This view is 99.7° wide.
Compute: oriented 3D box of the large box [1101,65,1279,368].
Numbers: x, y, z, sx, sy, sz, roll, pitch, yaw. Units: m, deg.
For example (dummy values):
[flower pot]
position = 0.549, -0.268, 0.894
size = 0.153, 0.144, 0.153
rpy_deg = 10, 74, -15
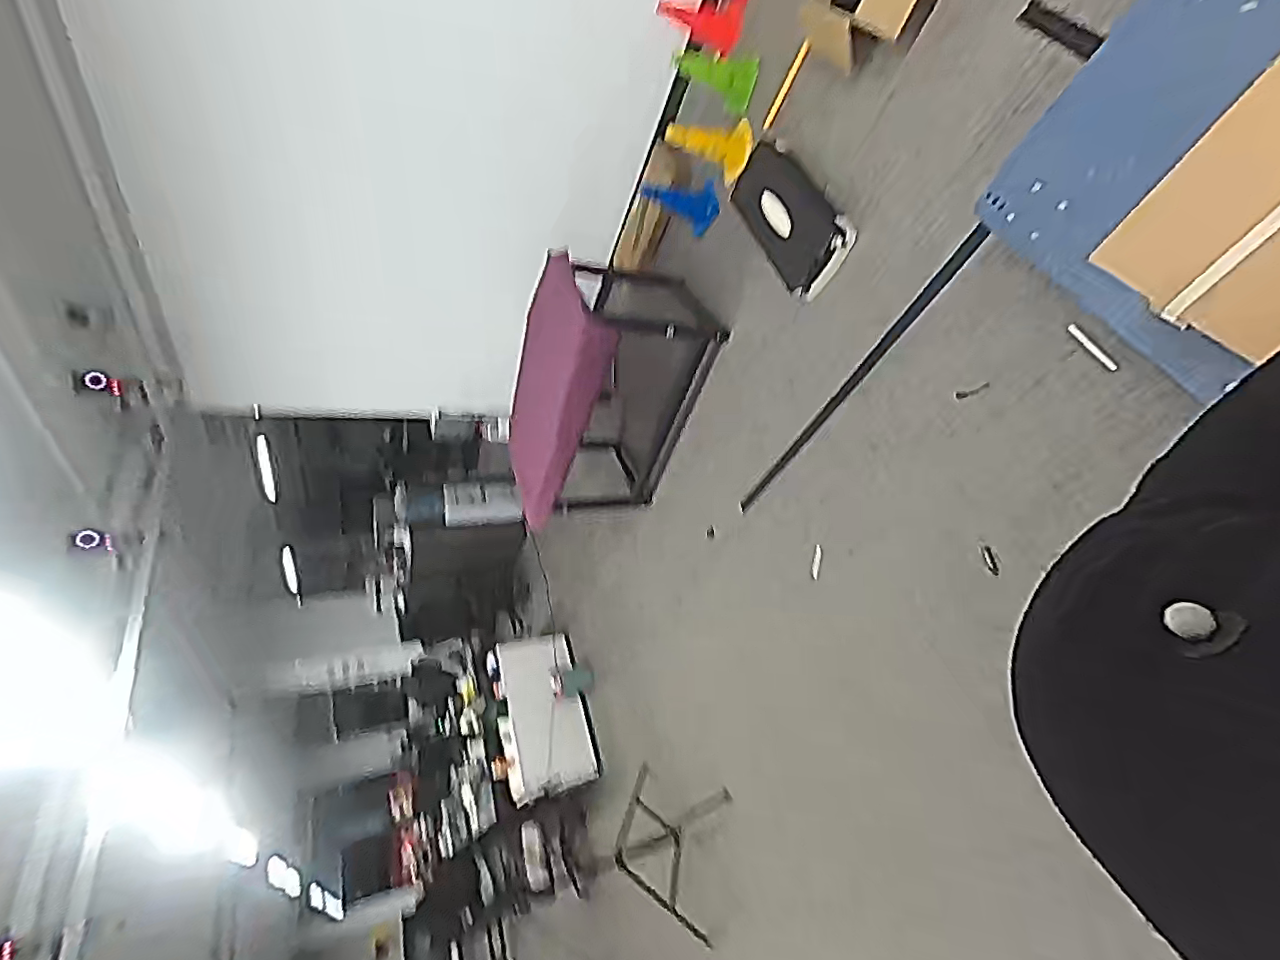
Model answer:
[large box]
position = 0.991, -0.379, 0.734
size = 0.408, 0.320, 0.320
rpy_deg = -63, 40, 40
